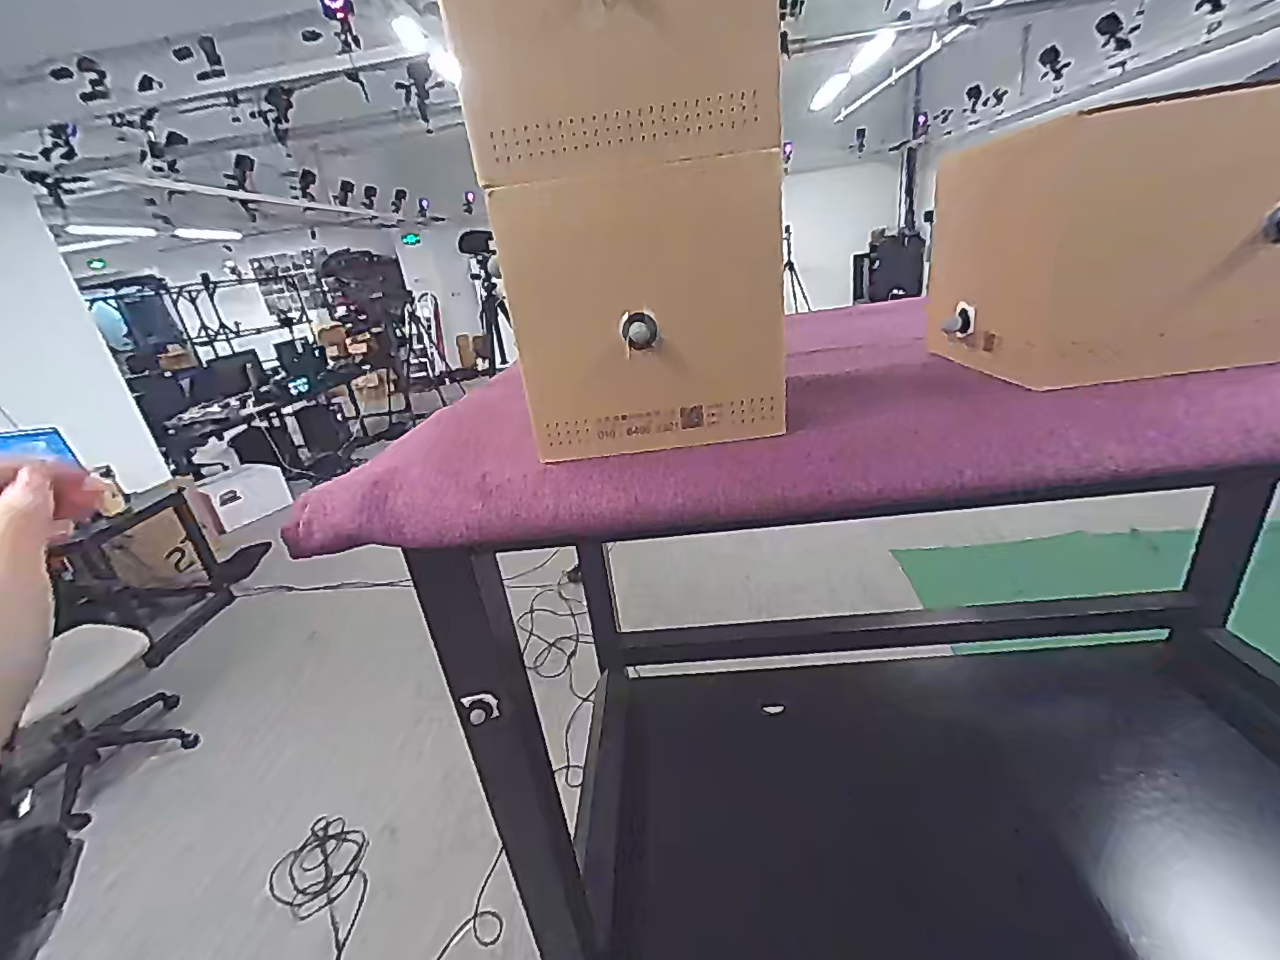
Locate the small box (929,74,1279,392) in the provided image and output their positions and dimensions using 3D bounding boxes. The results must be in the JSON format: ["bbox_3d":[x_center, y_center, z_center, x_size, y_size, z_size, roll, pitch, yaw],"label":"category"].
[{"bbox_3d":[0.341,-0.174,0.402,0.179,0.176,0.168,-8,23,4],"label":"small box"}]

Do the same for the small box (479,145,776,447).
[{"bbox_3d":[0.001,-0.127,0.400,0.168,0.176,0.179,-6,24,3],"label":"small box"}]
